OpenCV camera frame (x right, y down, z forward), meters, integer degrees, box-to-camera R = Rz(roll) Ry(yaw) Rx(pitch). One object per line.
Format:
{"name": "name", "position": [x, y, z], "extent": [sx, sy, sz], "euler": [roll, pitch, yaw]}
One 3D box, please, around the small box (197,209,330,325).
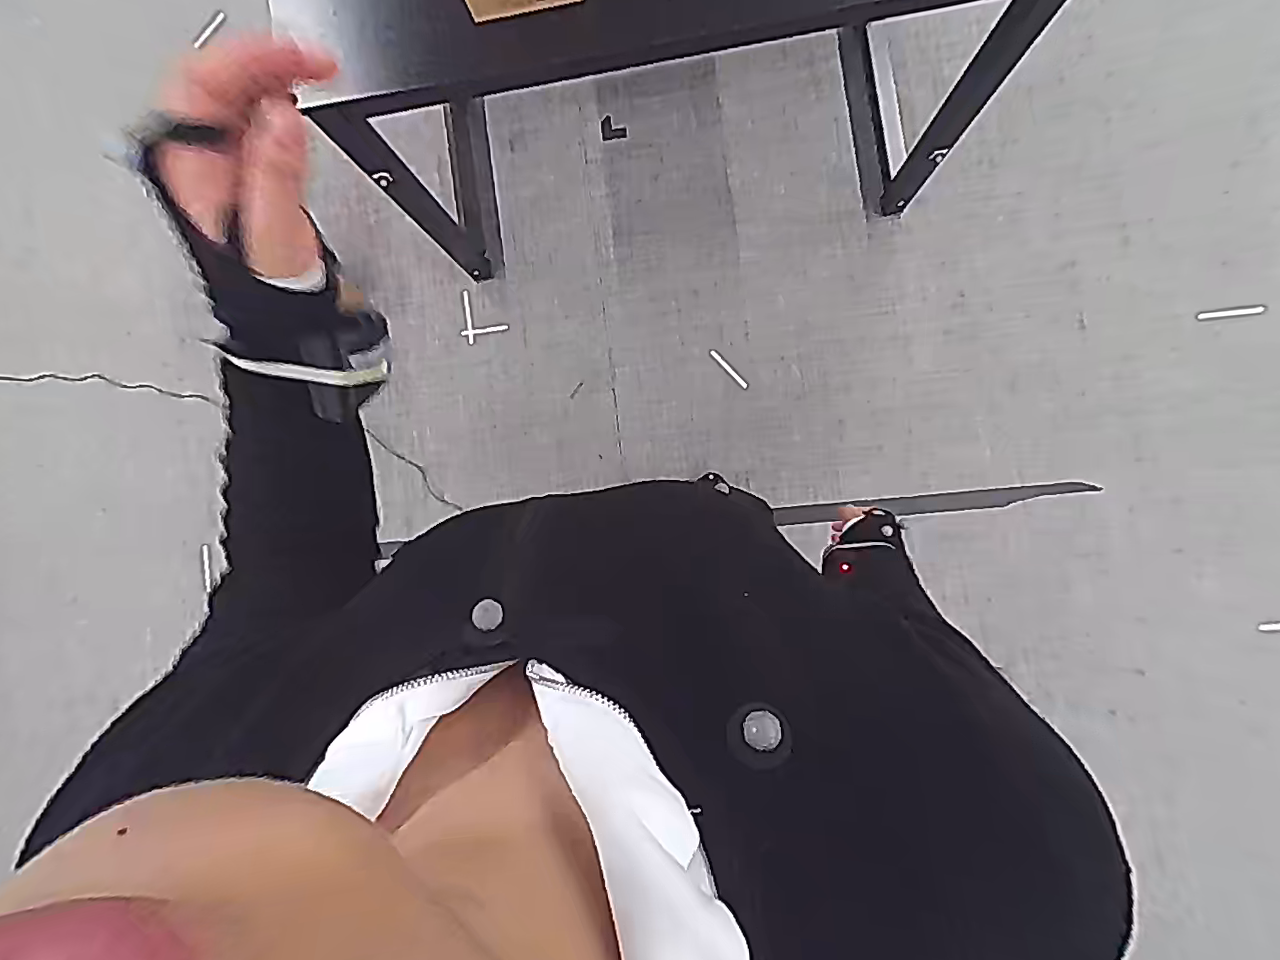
{"name": "small box", "position": [-0.920, -0.515, 1.340], "extent": [0.168, 0.176, 0.179], "euler": [44, 92, 4]}

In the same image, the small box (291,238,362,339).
{"name": "small box", "position": [-0.914, -0.525, 1.506], "extent": [0.168, 0.176, 0.179], "euler": [42, 92, 4]}

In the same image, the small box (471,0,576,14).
{"name": "small box", "position": [-0.178, -0.771, 0.719], "extent": [0.168, 0.176, 0.179], "euler": [-7, 88, 4]}
